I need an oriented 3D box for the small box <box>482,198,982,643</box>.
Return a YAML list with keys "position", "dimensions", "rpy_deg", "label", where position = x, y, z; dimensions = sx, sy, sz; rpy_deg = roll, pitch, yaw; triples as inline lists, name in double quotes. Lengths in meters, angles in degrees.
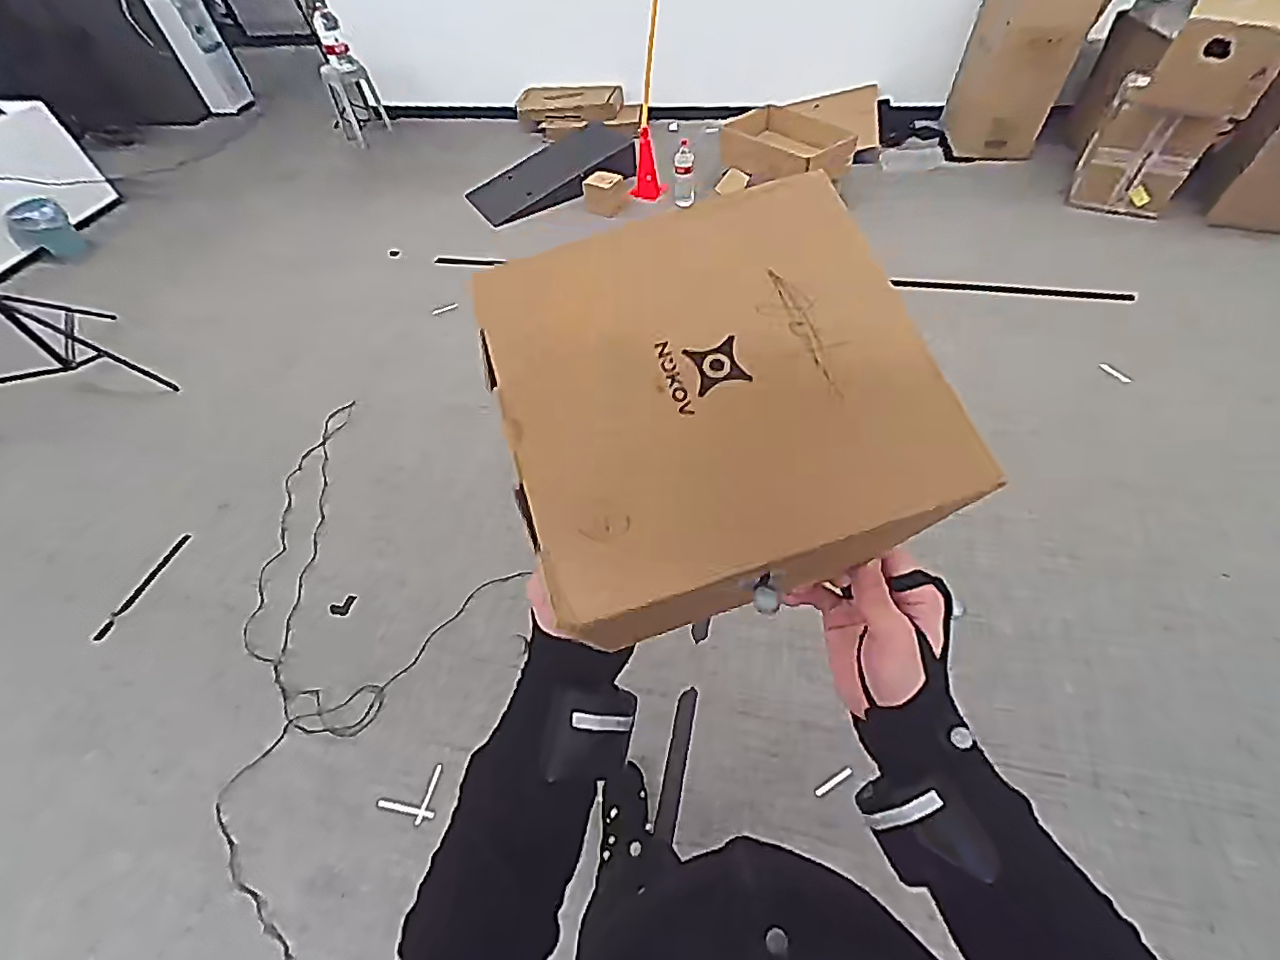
- position: [0.035, -0.013, 0.309]
  dimensions: [0.179, 0.176, 0.168]
  rpy_deg: [-18, 71, -4]
  label: "small box"
